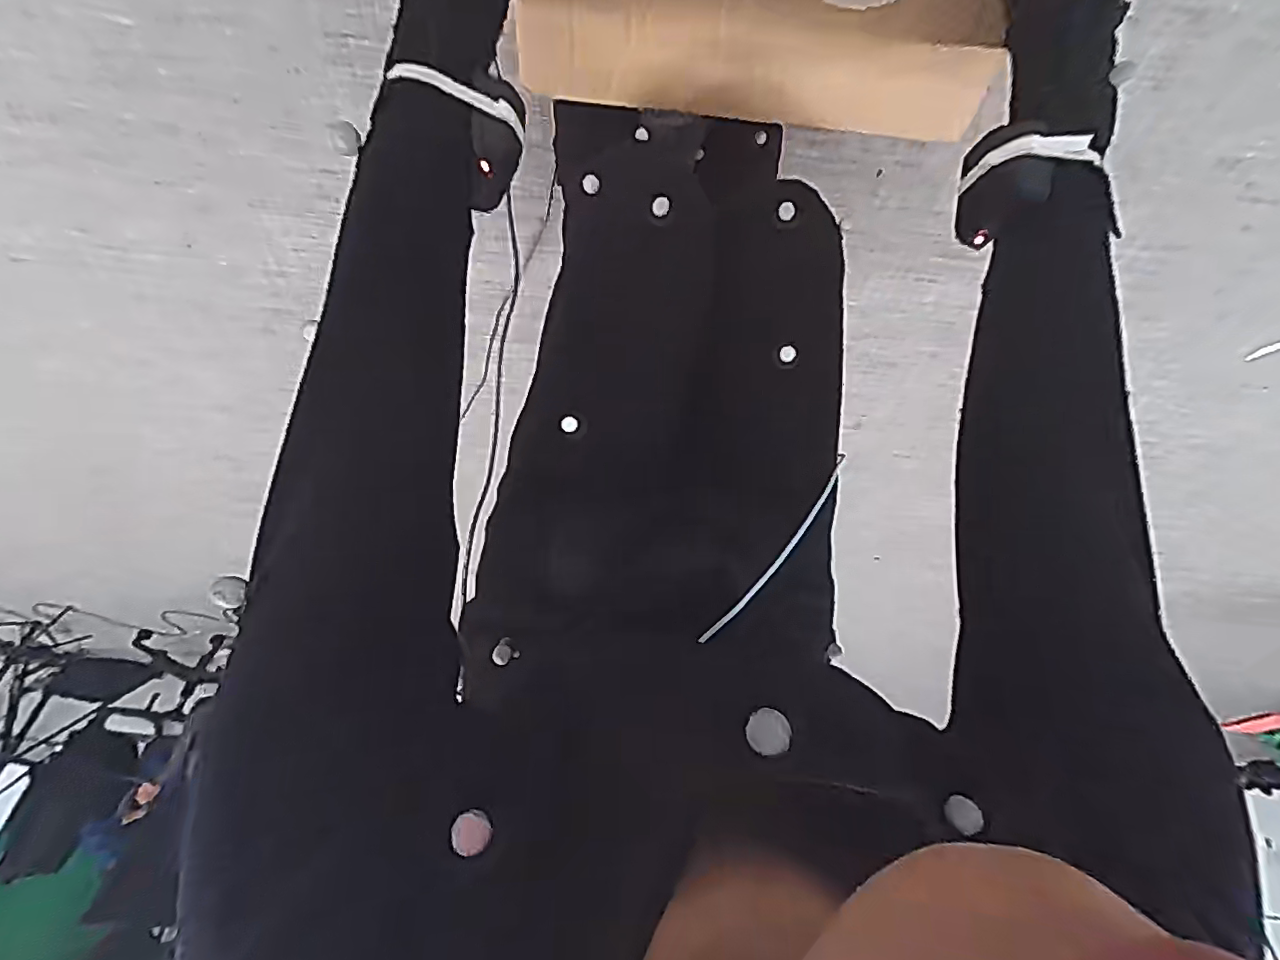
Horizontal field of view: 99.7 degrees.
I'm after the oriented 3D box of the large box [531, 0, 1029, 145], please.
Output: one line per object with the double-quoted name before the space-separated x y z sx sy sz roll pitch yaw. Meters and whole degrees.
"large box" 0.117 -0.539 0.466 0.408 0.320 0.320 4 146 -5
